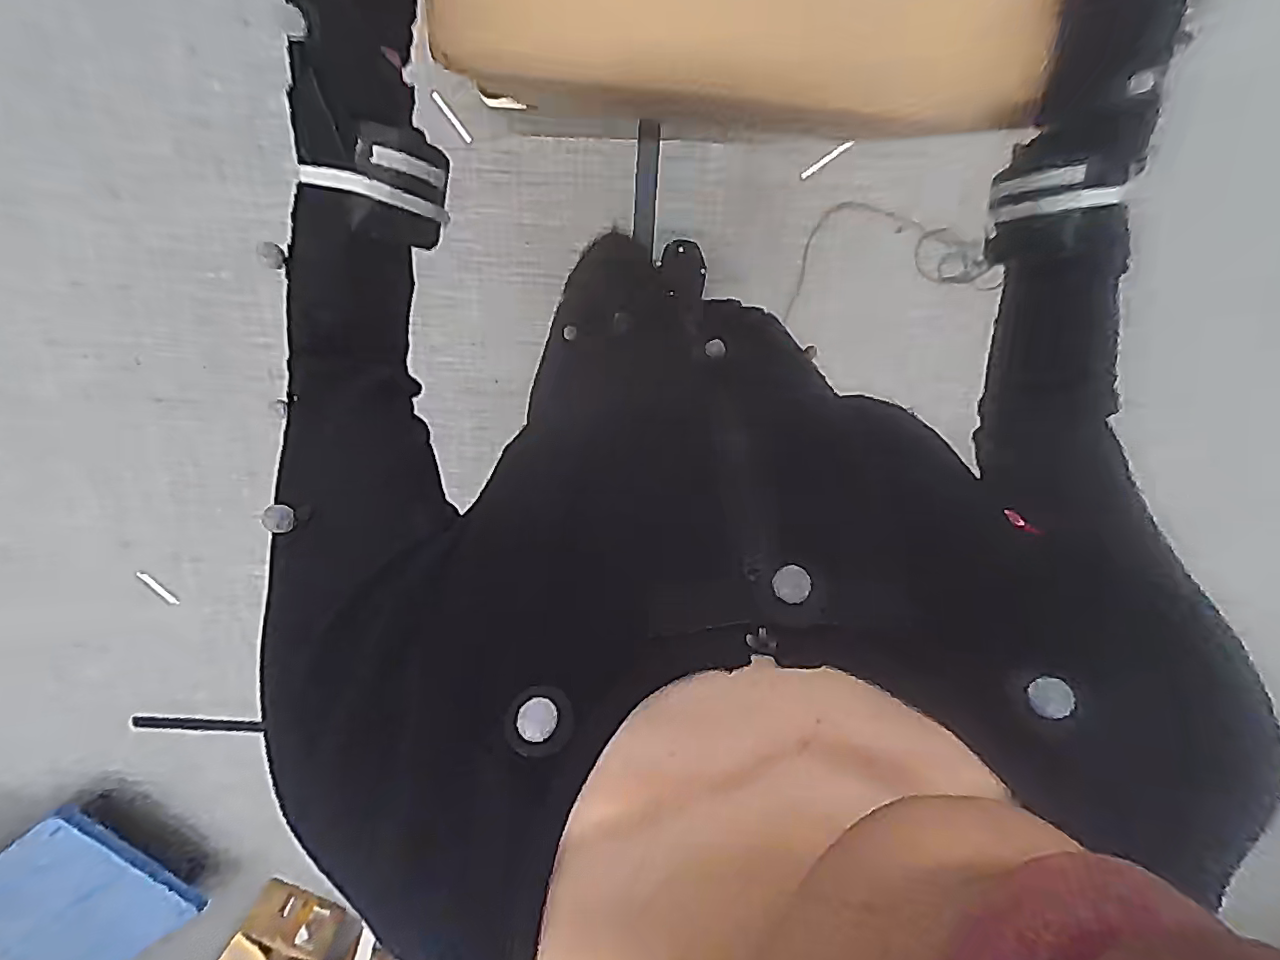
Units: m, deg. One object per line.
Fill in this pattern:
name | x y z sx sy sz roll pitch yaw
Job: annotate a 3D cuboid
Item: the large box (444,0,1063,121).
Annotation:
large box | 0.074 -0.477 0.410 0.408 0.320 0.320 2 122 -5
